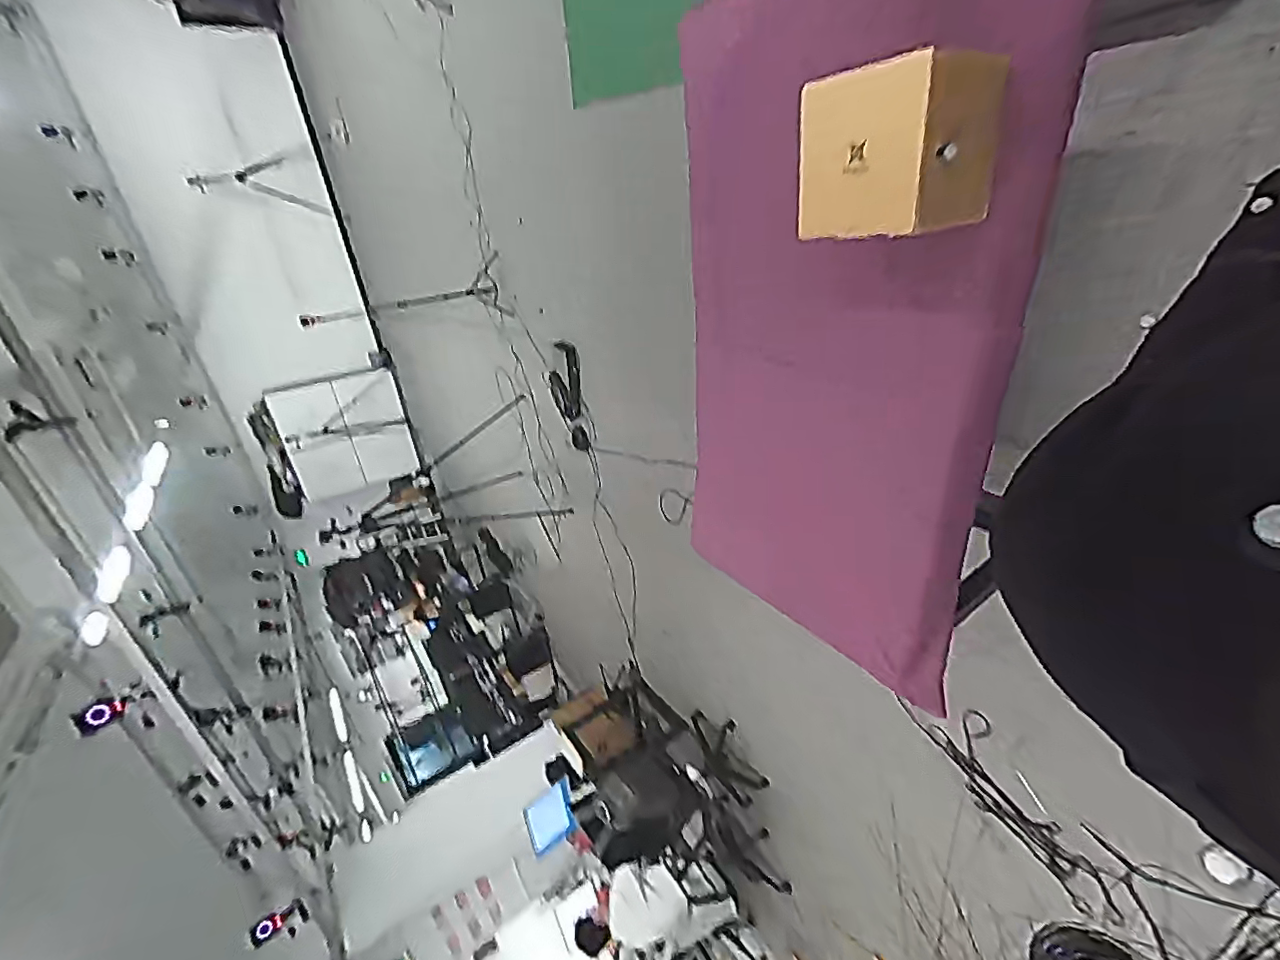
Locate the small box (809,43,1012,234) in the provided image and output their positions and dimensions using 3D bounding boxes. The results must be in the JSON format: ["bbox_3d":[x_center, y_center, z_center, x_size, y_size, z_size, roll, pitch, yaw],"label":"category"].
[{"bbox_3d":[0.336,-0.418,0.683,0.168,0.176,0.179,27,134,50],"label":"small box"}]
